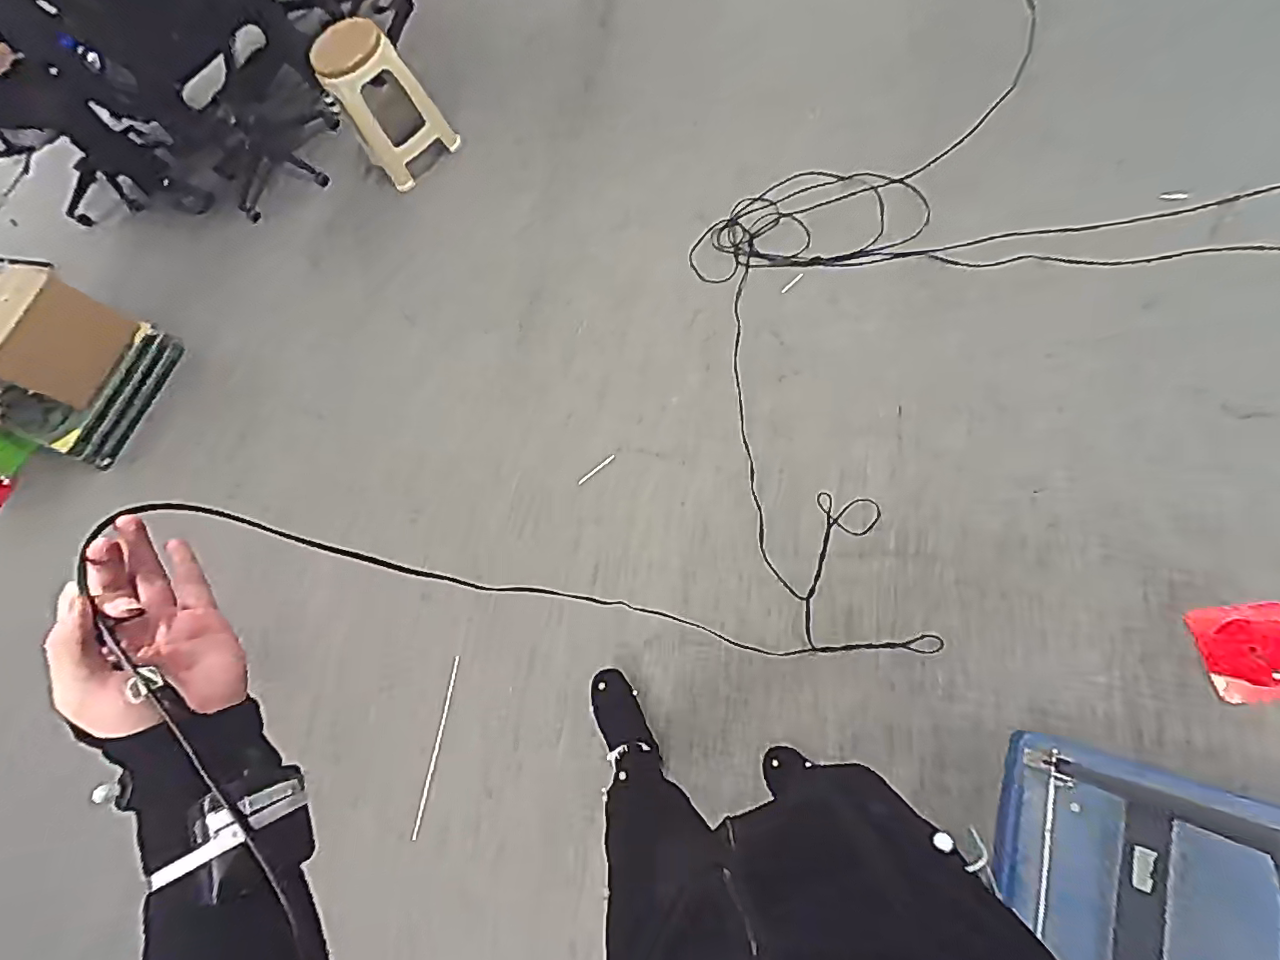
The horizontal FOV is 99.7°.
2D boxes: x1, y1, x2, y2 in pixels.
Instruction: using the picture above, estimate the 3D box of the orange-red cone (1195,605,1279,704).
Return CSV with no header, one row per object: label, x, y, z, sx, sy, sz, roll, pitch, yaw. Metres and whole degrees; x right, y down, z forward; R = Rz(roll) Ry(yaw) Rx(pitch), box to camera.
orange-red cone,1.316,0.319,1.023,0.198,0.360,0.199,-9,67,10
